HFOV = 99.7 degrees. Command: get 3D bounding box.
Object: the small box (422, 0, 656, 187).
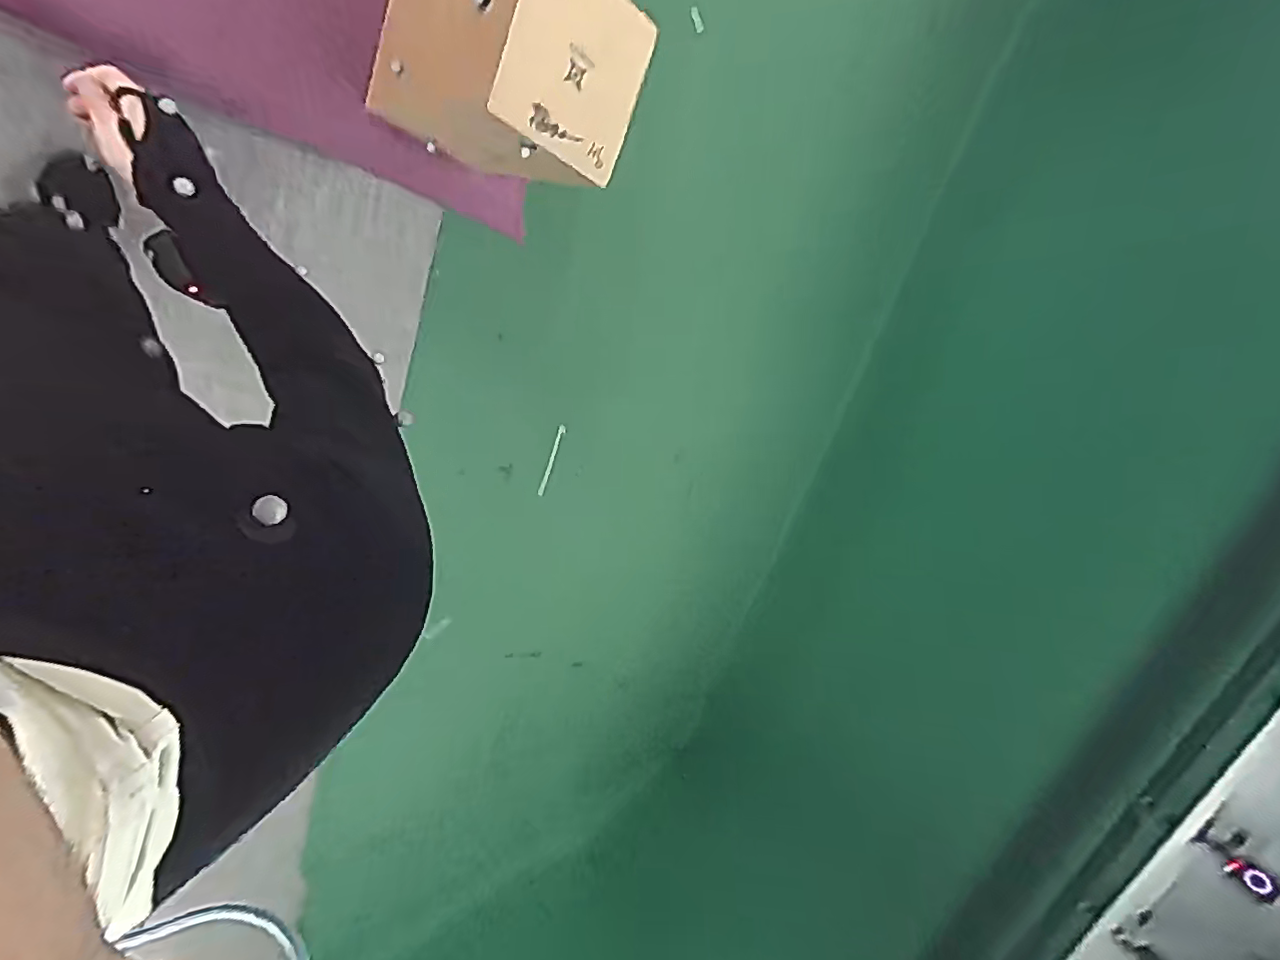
[{"bbox_3d":[-0.117,-0.460,0.603,0.168,0.176,0.179,7,109,-49],"label":"small box"}]
